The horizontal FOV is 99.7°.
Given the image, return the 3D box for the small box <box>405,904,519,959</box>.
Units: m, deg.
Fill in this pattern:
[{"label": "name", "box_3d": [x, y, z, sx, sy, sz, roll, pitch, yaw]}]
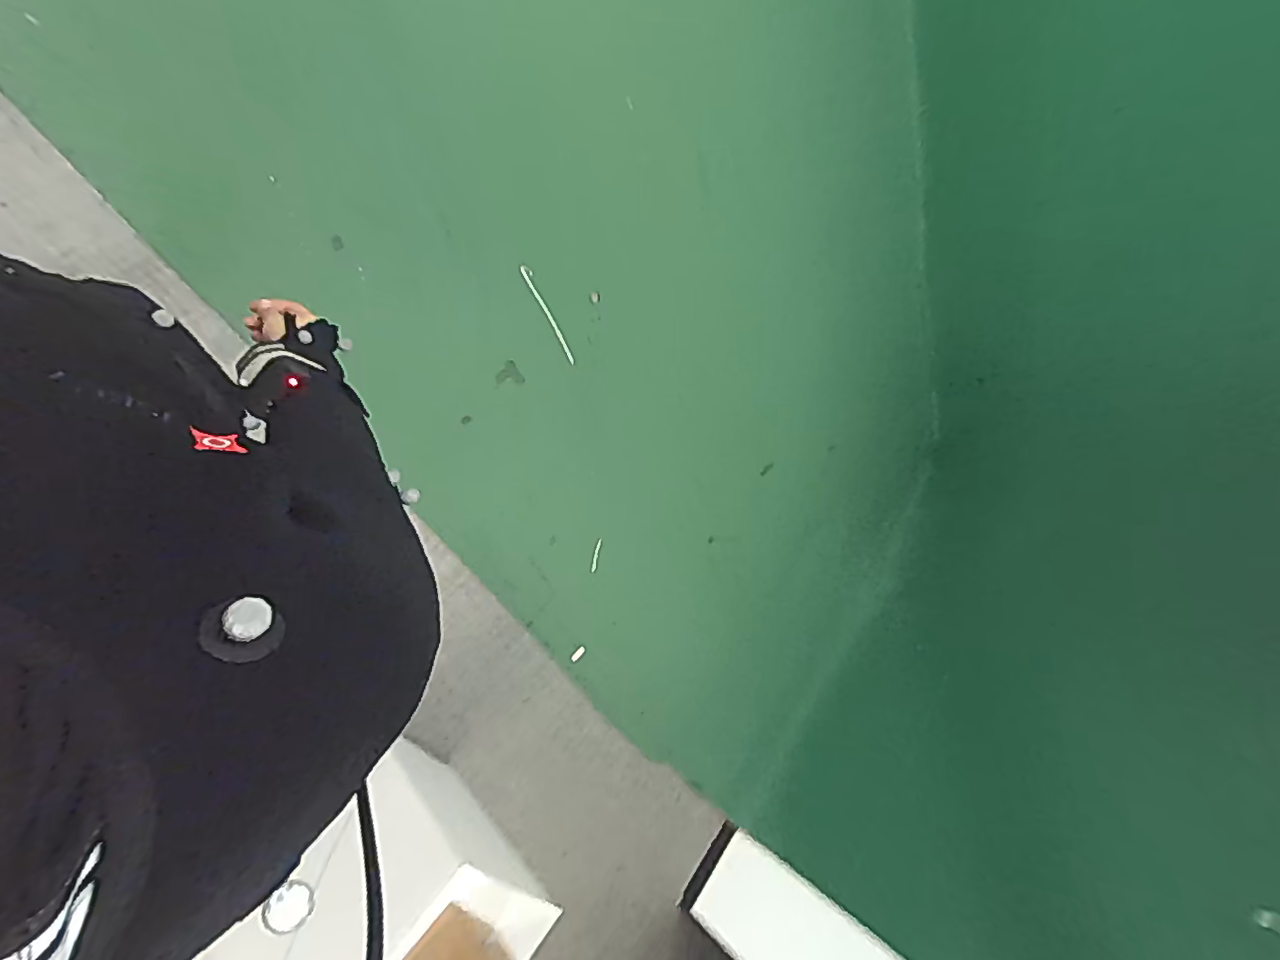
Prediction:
[{"label": "small box", "box_3d": [-0.324, 0.927, 0.984, 0.168, 0.176, 0.179, -43, 130, -25]}]
